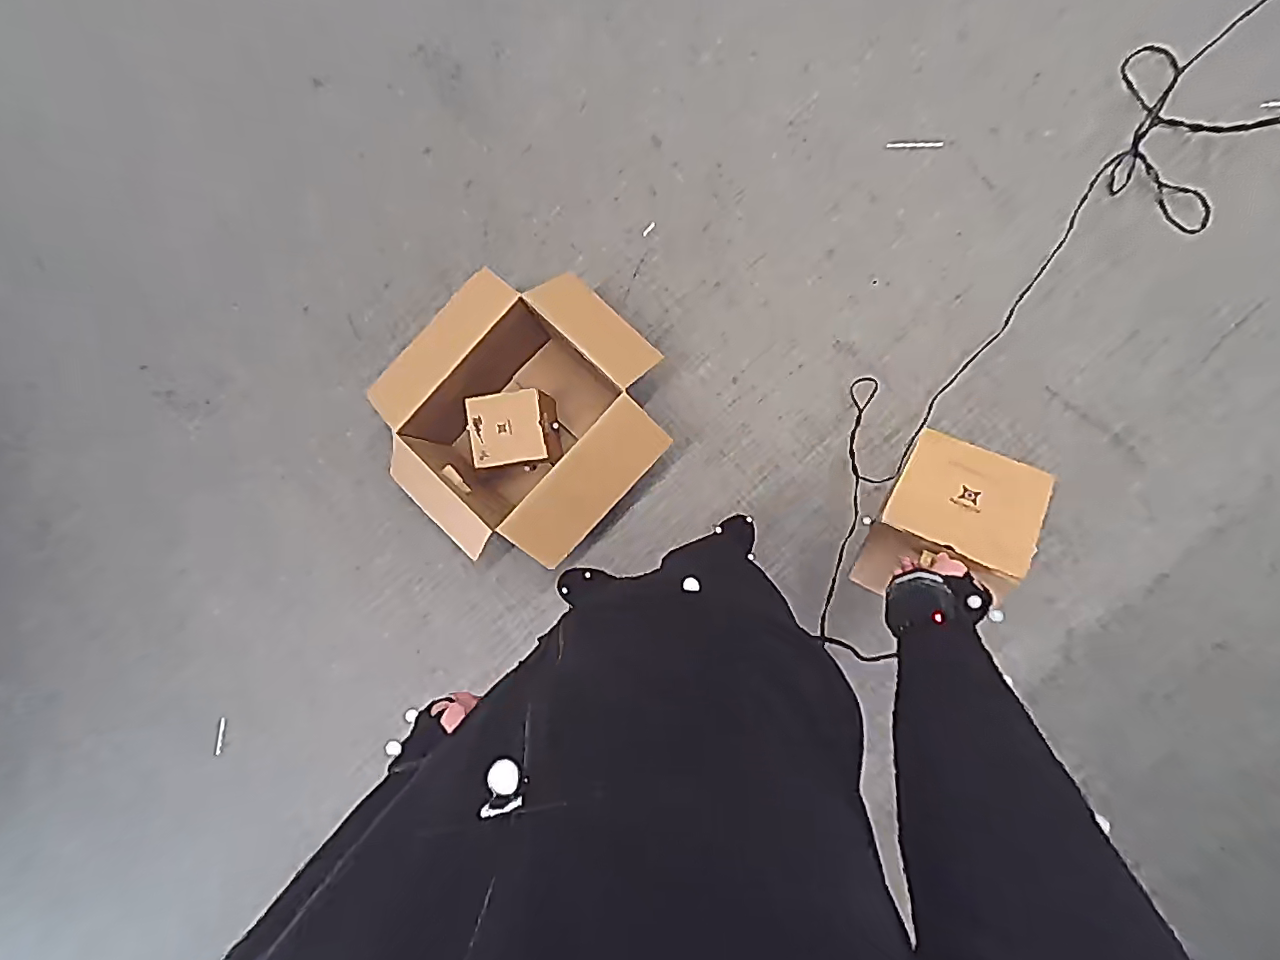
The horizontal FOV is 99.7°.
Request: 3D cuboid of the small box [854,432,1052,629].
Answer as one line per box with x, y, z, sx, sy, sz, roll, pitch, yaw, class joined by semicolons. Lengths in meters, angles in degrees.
0.416;0.074;0.743;0.168;0.176;0.179;27;59;20;small box
